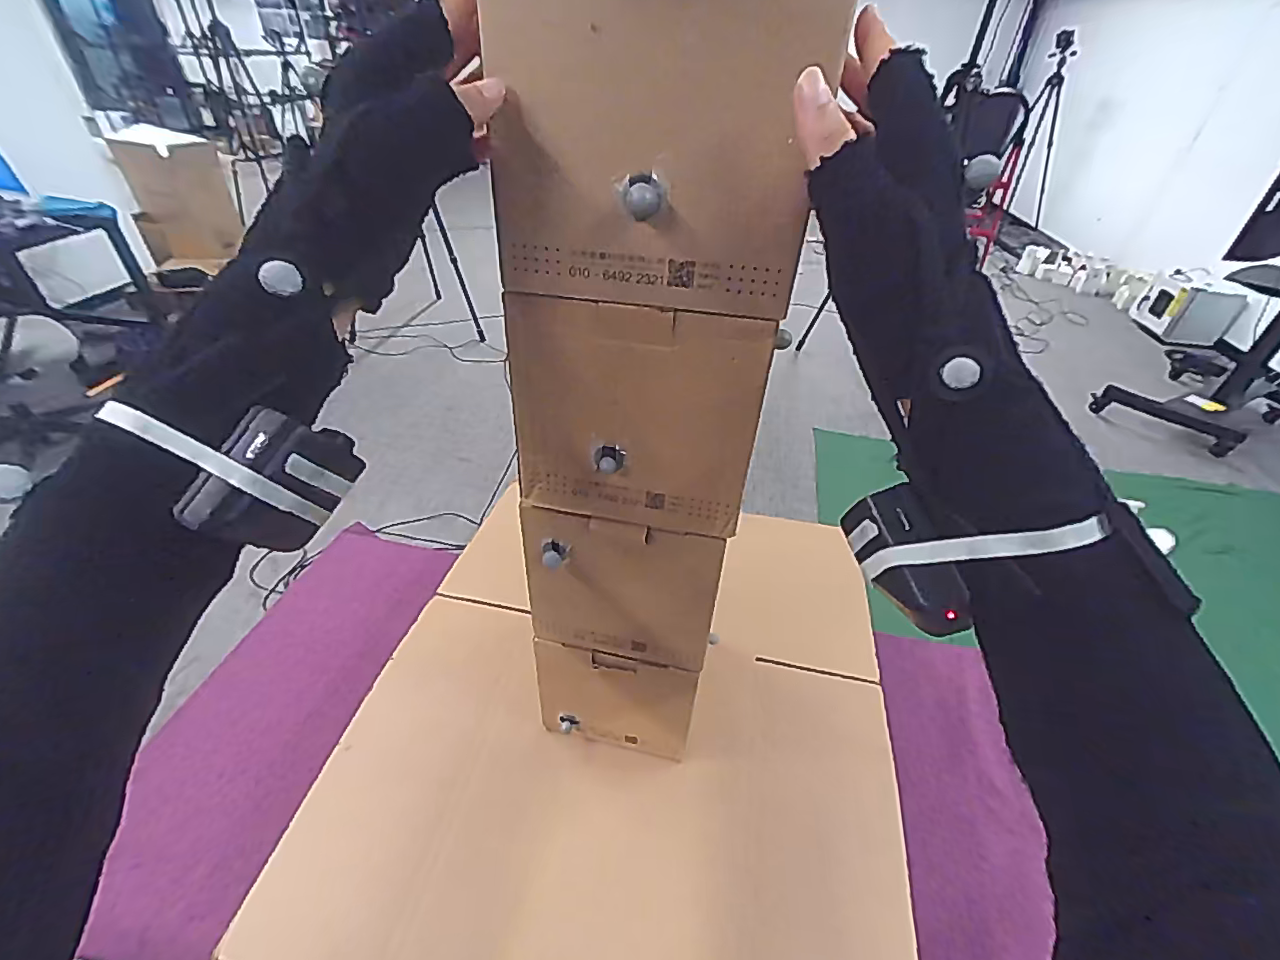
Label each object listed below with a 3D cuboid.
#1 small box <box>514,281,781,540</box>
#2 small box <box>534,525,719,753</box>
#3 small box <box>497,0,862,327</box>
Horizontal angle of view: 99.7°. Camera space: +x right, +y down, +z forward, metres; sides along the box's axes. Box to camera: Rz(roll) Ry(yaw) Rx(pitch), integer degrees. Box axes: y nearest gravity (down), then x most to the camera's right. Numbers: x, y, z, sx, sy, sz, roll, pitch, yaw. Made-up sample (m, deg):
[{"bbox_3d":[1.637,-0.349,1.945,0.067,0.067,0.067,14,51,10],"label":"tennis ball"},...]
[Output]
[{"bbox_3d":[0.011,-0.081,0.430,0.168,0.176,0.179,9,37,7],"label":"small box"},{"bbox_3d":[-0.008,0.182,0.626,0.168,0.176,0.179,10,37,8],"label":"small box"},{"bbox_3d":[0.020,-0.211,0.331,0.168,0.176,0.179,8,38,5],"label":"small box"}]
